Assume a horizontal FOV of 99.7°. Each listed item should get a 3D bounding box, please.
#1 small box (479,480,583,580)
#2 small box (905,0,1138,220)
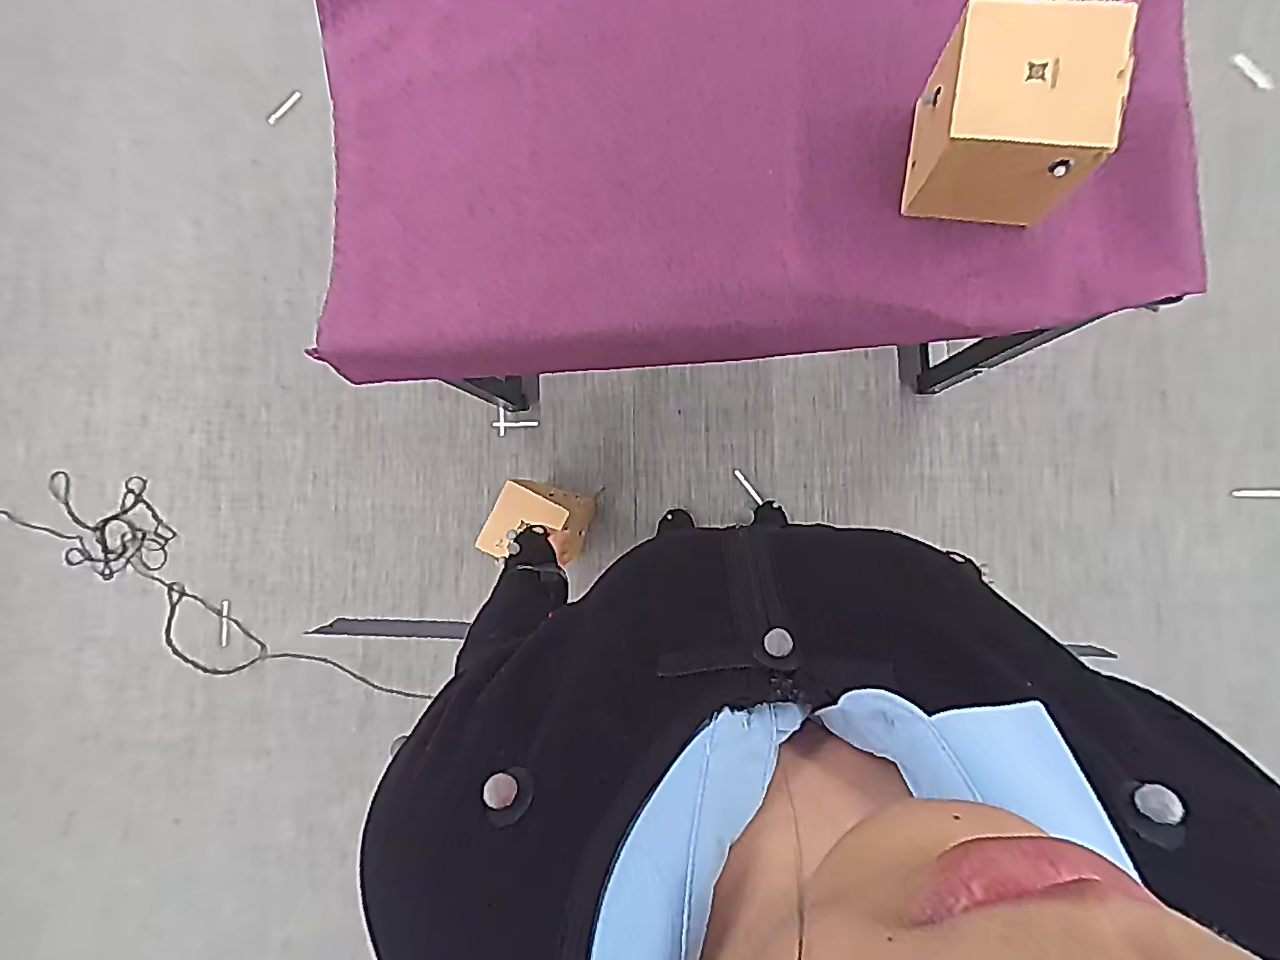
[{"bbox_3d":[-0.252,0.114,1.302,0.168,0.176,0.179,27,92,6],"label":"small box"},{"bbox_3d":[0.454,-0.448,0.675,0.179,0.176,0.168,8,89,7],"label":"small box"}]
